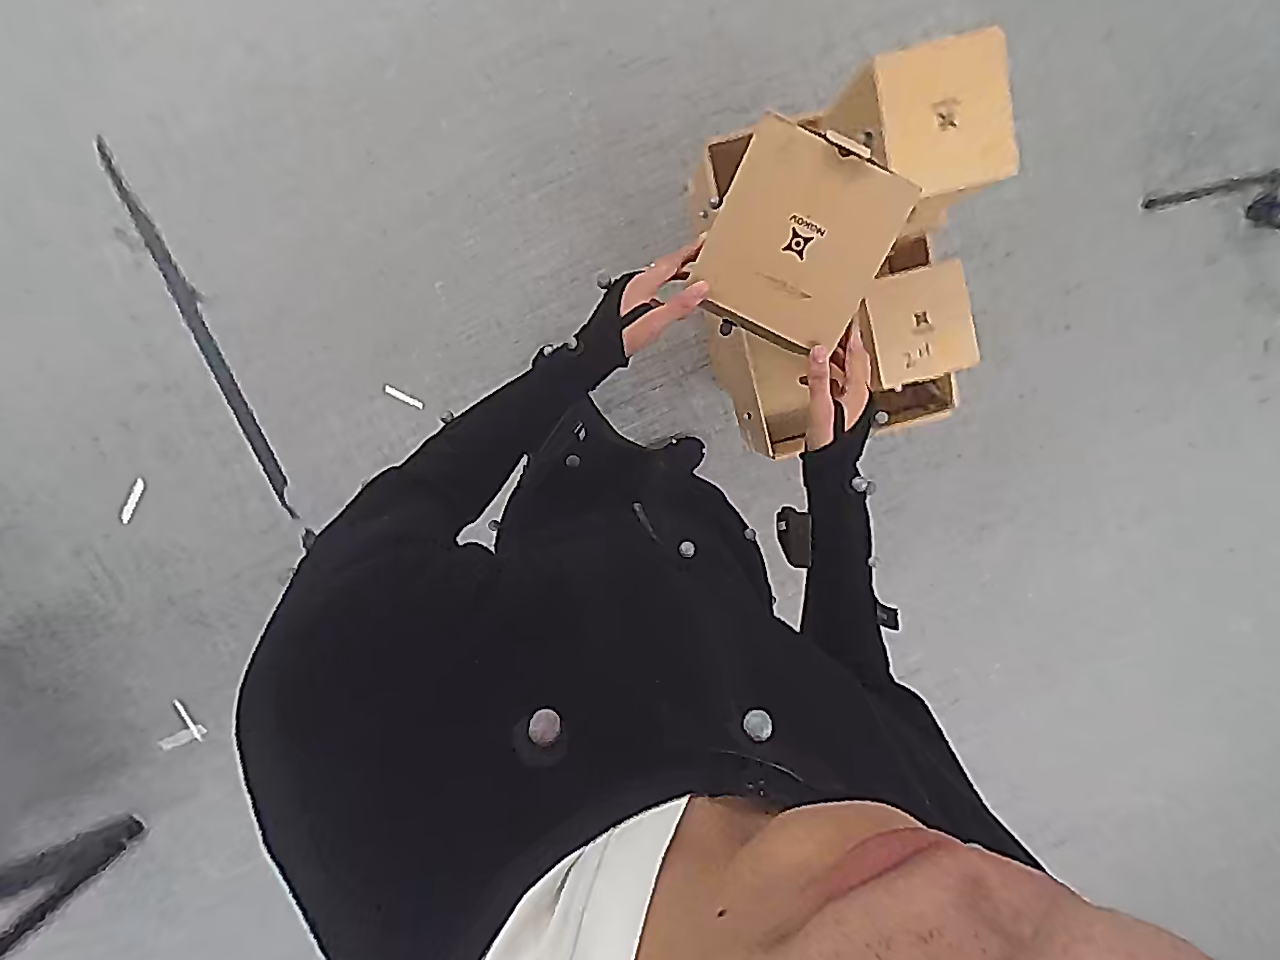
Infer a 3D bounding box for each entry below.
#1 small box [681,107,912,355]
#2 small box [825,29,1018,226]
[{"bbox_3d":[0.150,-0.252,0.593,0.168,0.176,0.179,24,104,-3],"label":"small box"},{"bbox_3d":[0.378,-0.461,0.750,0.168,0.176,0.179,-14,99,-1],"label":"small box"}]
